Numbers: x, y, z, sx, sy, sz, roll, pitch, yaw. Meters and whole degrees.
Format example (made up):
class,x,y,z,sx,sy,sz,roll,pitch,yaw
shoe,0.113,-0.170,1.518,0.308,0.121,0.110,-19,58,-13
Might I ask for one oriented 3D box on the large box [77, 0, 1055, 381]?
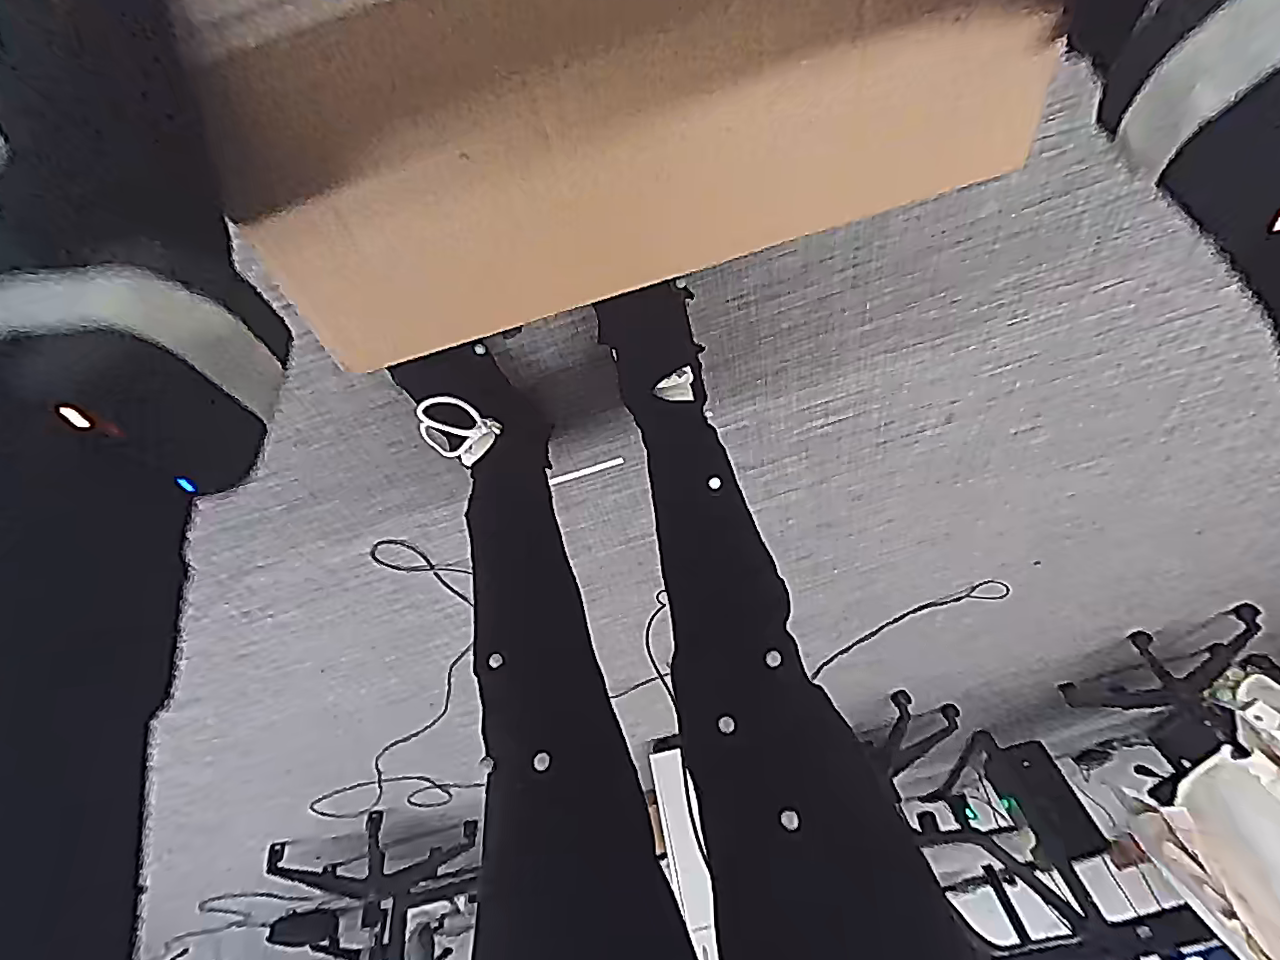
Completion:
class,x,y,z,sx,sy,sz,roll,pitch,yaw
large box,-0.041,-0.319,0.313,0.408,0.320,0.320,-17,137,2
